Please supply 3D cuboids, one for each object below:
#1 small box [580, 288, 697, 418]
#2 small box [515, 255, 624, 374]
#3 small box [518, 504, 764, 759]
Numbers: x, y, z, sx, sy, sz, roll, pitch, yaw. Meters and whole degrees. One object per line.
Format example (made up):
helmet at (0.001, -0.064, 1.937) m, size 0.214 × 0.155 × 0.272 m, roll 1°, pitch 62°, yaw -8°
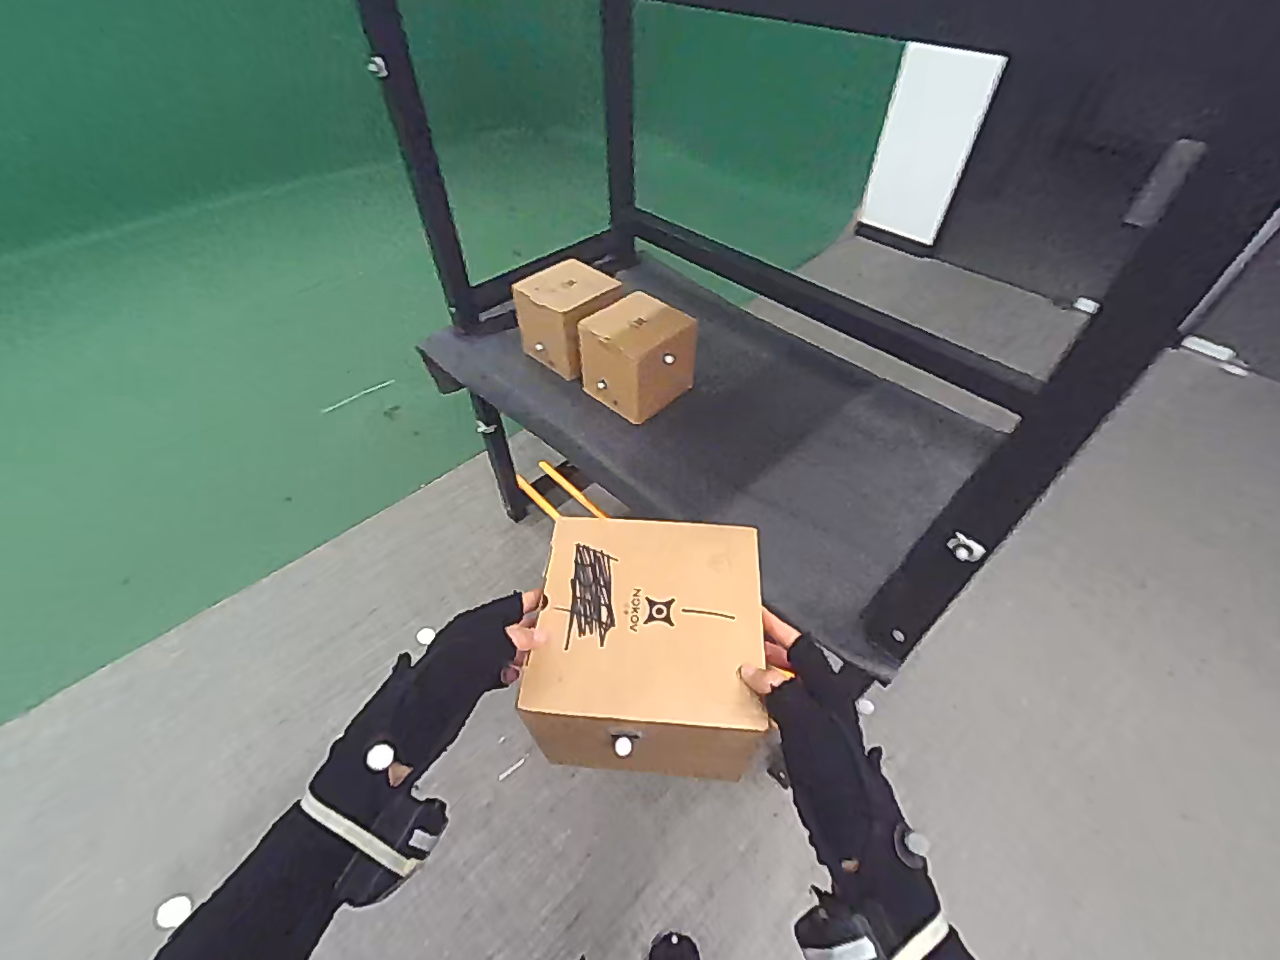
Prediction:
small box at (-0.005, -0.262, 1.119) m, size 0.168 × 0.176 × 0.179 m, roll 36°, pitch 58°, yaw 28°
small box at (-0.153, -0.369, 1.210) m, size 0.168 × 0.176 × 0.179 m, roll 36°, pitch 58°, yaw 27°
small box at (0.007, 0.140, 0.486) m, size 0.179 × 0.176 × 0.168 m, roll 3°, pitch 51°, yaw 3°
